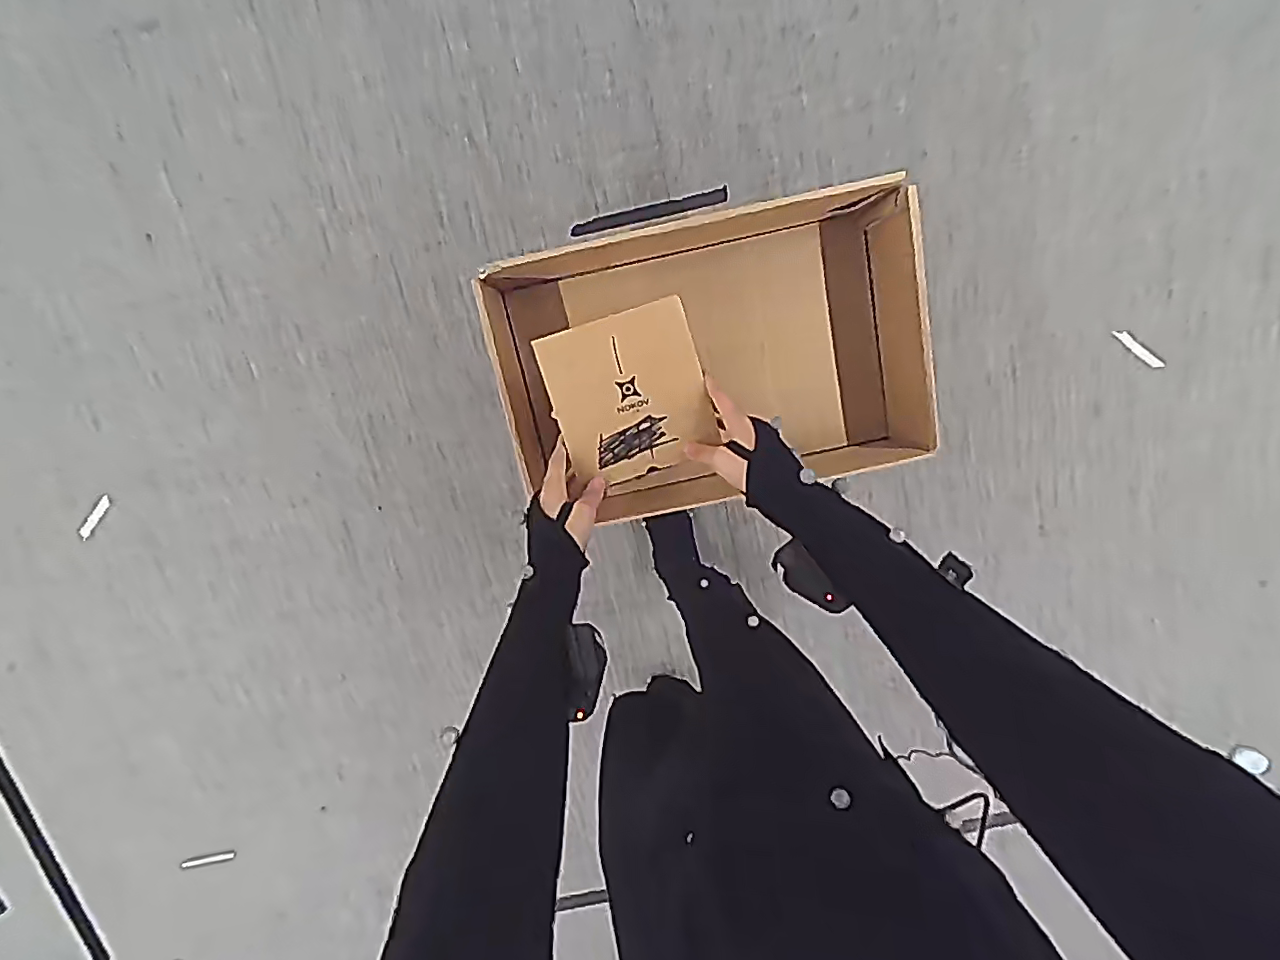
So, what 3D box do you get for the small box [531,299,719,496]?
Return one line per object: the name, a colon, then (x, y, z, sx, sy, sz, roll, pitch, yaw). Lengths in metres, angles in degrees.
small box: (-0.014, -0.097, 0.657, 0.168, 0.176, 0.179, -17, 97, 2)
